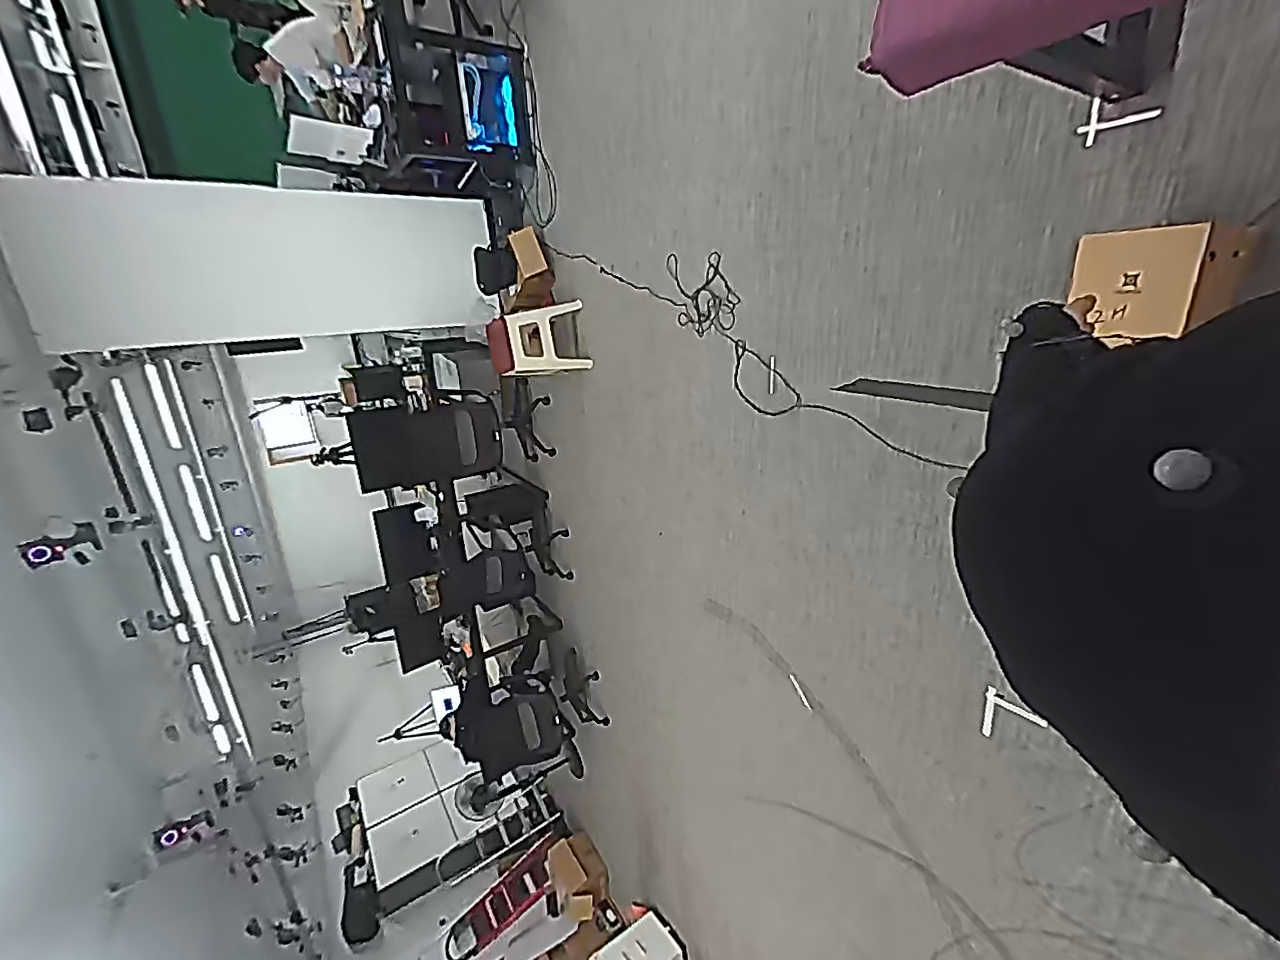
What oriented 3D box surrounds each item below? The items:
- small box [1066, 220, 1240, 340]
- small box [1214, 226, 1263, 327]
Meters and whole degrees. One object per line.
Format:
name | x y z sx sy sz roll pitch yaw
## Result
small box | 0.884 -0.342 0.934 0.168 0.176 0.179 24 123 53
small box | 1.016 -0.383 1.023 0.168 0.176 0.179 30 128 49
